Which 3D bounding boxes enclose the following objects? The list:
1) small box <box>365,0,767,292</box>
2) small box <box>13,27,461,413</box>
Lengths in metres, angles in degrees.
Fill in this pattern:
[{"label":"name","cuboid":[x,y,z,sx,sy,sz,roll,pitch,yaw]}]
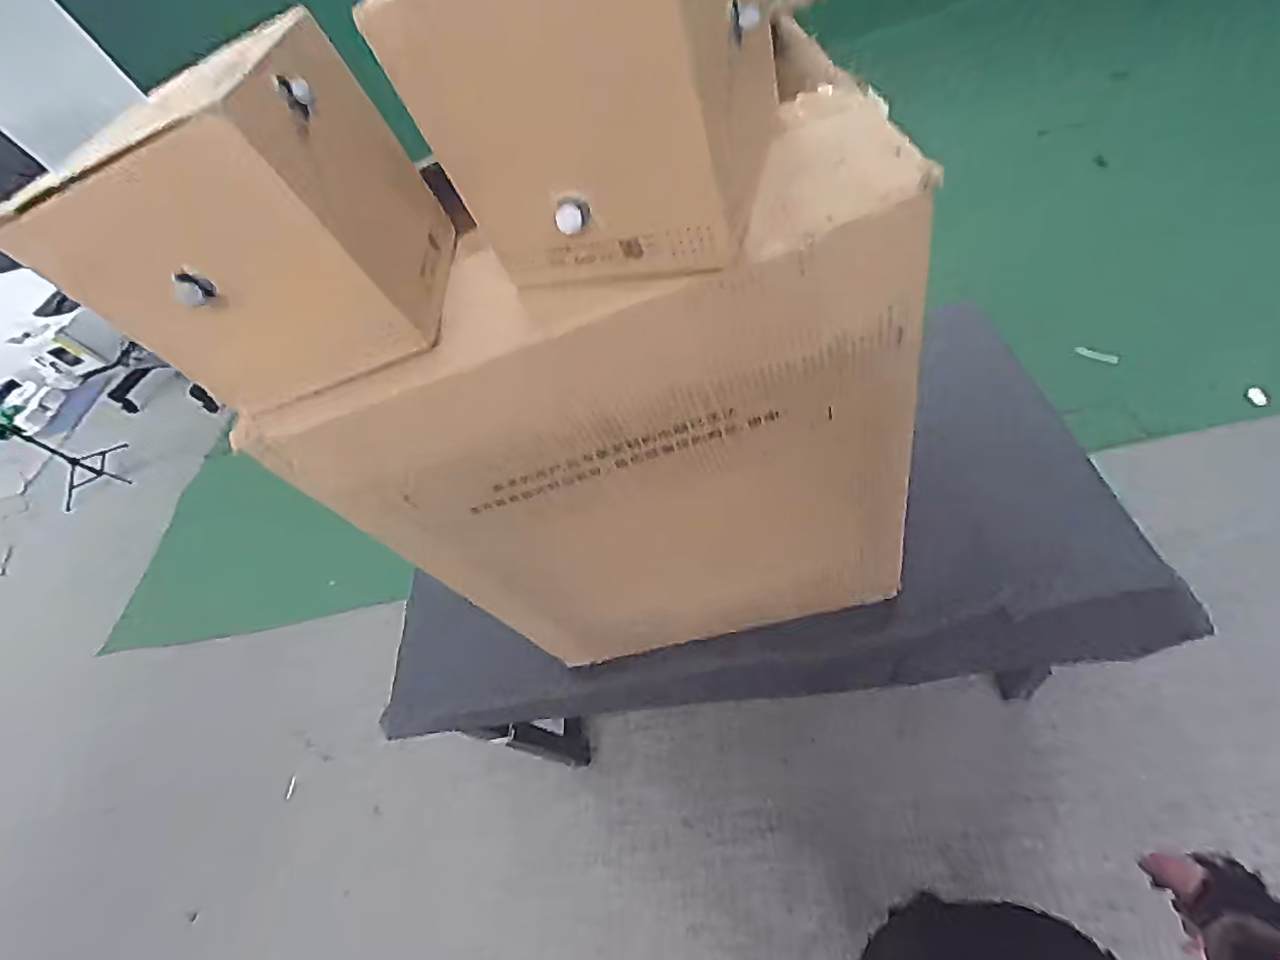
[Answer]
[{"label":"small box","cuboid":[-0.020,-0.247,0.346,0.168,0.176,0.179,4,60,25]},{"label":"small box","cuboid":[-0.264,-0.176,0.402,0.179,0.176,0.168,-17,53,14]}]
